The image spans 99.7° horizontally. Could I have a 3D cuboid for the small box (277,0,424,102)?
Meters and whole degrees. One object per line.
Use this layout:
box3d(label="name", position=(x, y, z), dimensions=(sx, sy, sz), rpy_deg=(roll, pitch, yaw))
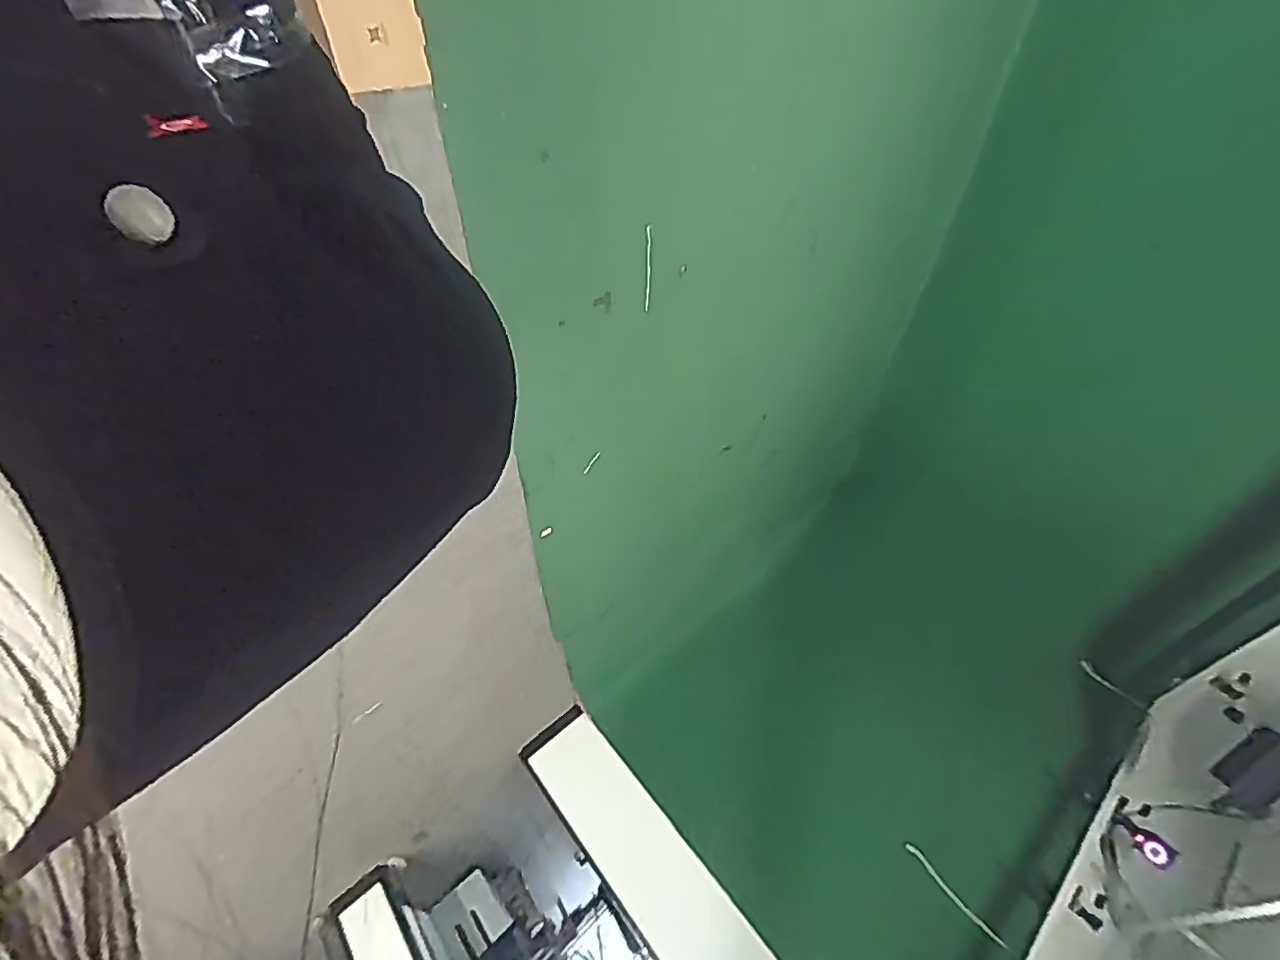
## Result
box3d(label="small box", position=(-0.546, -0.835, 1.022), dimensions=(0.179, 0.176, 0.168), rpy_deg=(-31, 141, -27))
